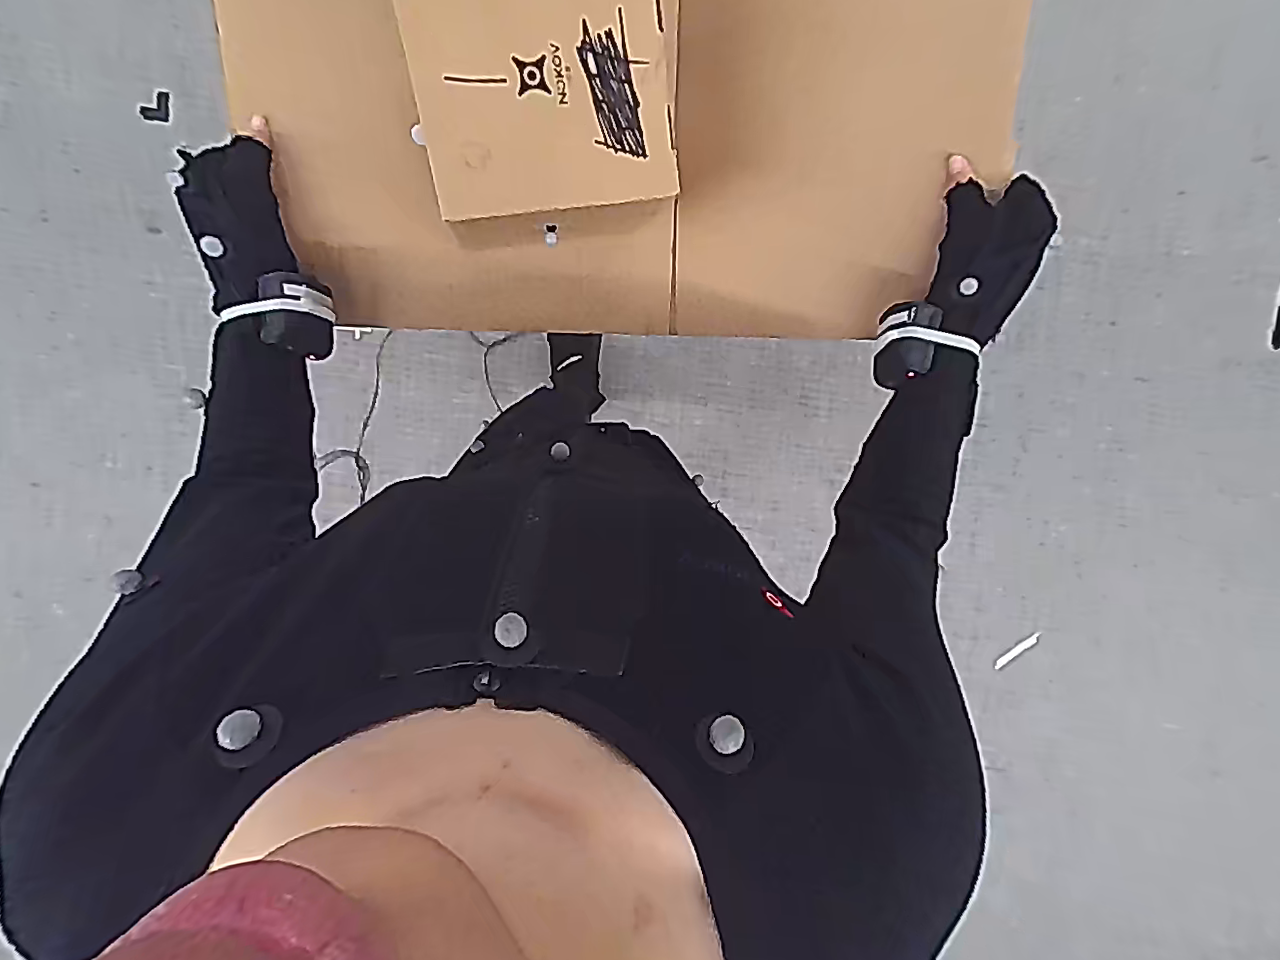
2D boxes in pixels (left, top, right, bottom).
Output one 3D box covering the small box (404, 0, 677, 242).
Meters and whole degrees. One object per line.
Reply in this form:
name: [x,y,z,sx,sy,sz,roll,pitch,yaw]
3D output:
small box: [-0.081,-0.306,0.453,0.179,0.176,0.168,-11,107,-9]
